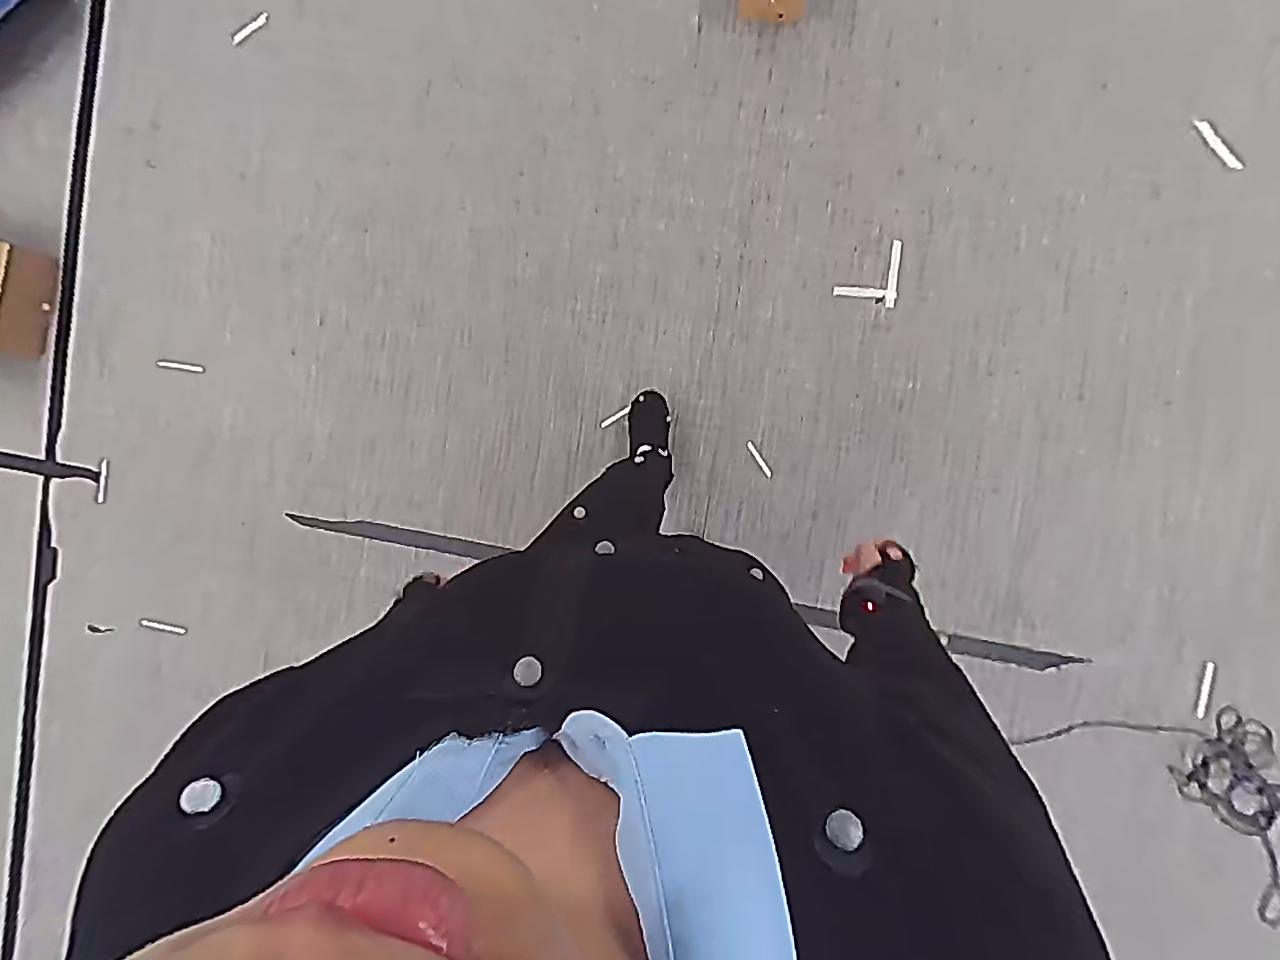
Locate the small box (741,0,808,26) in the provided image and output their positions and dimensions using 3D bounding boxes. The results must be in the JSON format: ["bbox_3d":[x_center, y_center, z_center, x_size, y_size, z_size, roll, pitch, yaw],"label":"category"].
[{"bbox_3d":[0.344,-1.273,1.336,0.168,0.176,0.179,7,91,6],"label":"small box"}]
